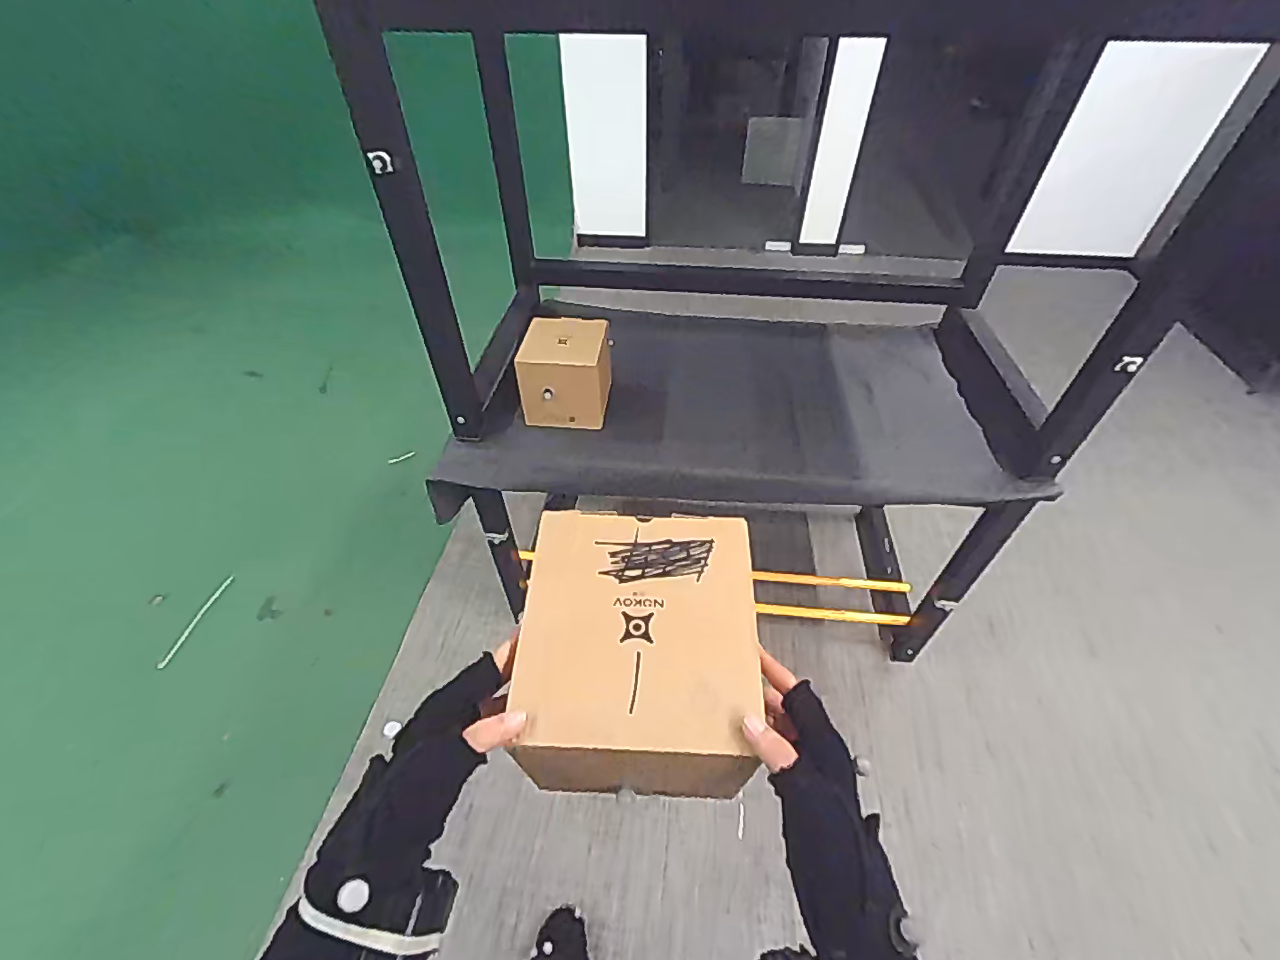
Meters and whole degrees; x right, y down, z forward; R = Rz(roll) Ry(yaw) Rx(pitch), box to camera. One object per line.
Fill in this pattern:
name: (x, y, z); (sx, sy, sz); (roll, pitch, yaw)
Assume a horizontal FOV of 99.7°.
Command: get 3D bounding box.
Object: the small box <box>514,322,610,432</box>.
small box: (-0.157, -0.220, 1.164); (0.168, 0.176, 0.179); (3, 45, 3)
